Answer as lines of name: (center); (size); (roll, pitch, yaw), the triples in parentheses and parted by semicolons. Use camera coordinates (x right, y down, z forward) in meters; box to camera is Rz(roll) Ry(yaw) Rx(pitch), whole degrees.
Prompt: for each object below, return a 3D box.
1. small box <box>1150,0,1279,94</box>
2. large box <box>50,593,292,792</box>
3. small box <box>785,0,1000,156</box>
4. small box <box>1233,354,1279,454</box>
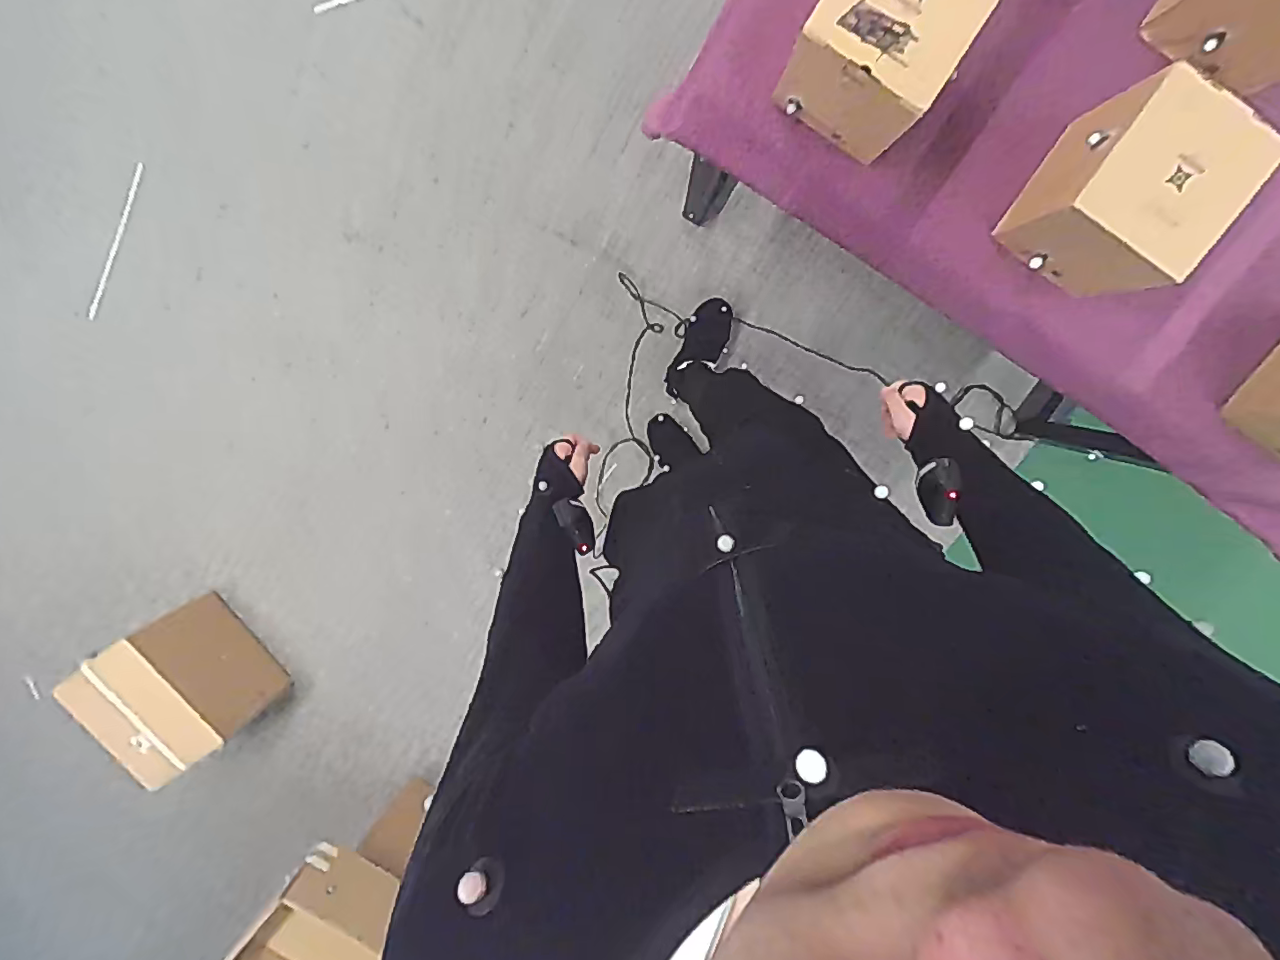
small box: (0.772, -0.607, 0.626); (0.168, 0.176, 0.179); (31, 103, -6)
large box: (-1.402, 0.633, 1.658); (0.320, 0.320, 0.408); (-33, 101, 9)
small box: (0.296, -0.537, 0.654); (0.168, 0.176, 0.179); (31, 101, -6)
small box: (0.992, -0.117, 0.728); (0.168, 0.176, 0.179); (33, 100, -4)
